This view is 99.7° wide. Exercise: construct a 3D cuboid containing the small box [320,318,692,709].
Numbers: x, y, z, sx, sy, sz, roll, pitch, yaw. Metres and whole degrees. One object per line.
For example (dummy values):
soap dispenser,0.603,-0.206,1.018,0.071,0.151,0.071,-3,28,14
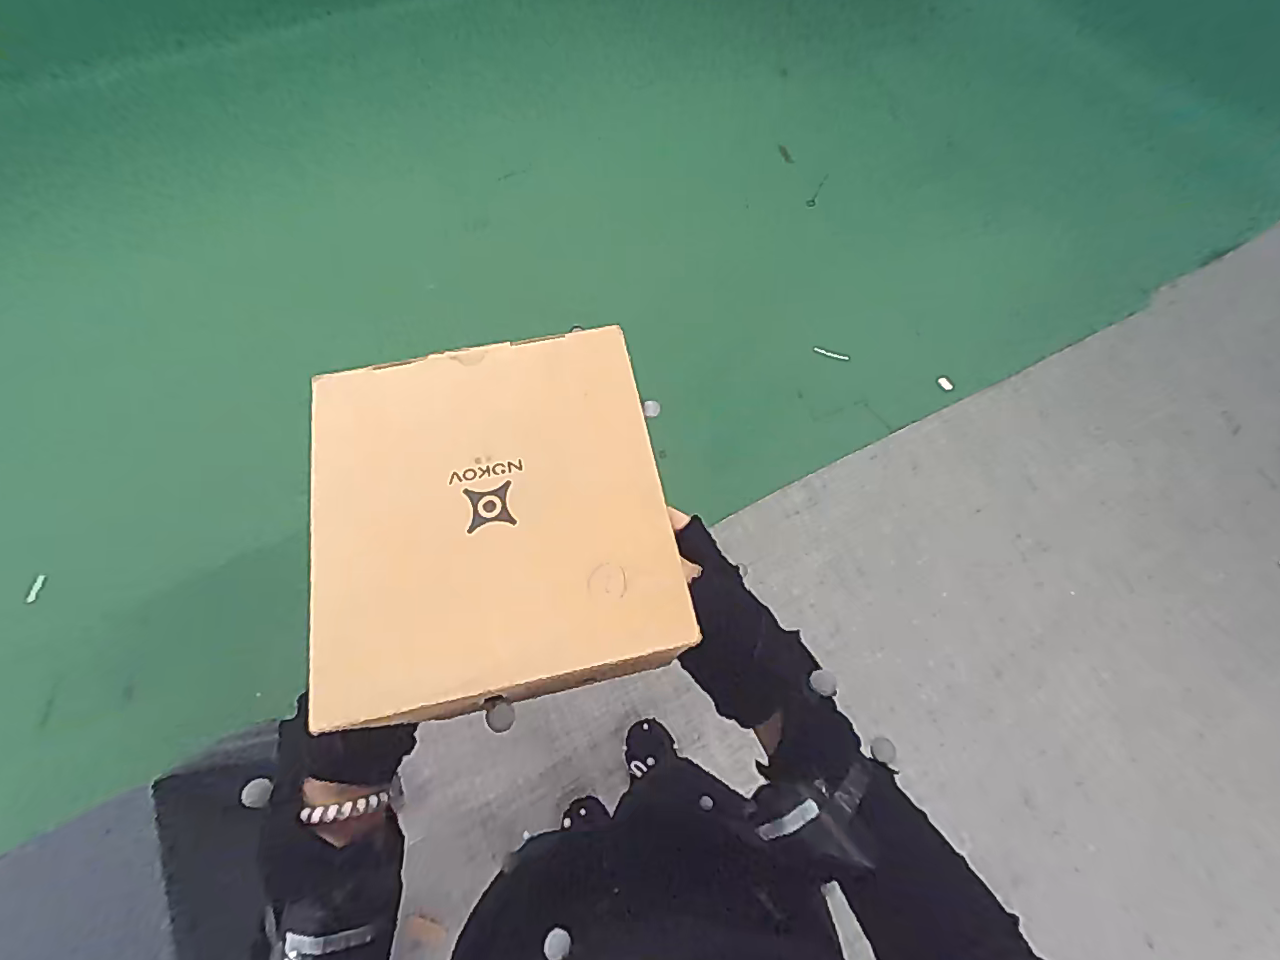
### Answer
small box,-0.072,0.033,0.338,0.168,0.176,0.179,-12,67,-6
